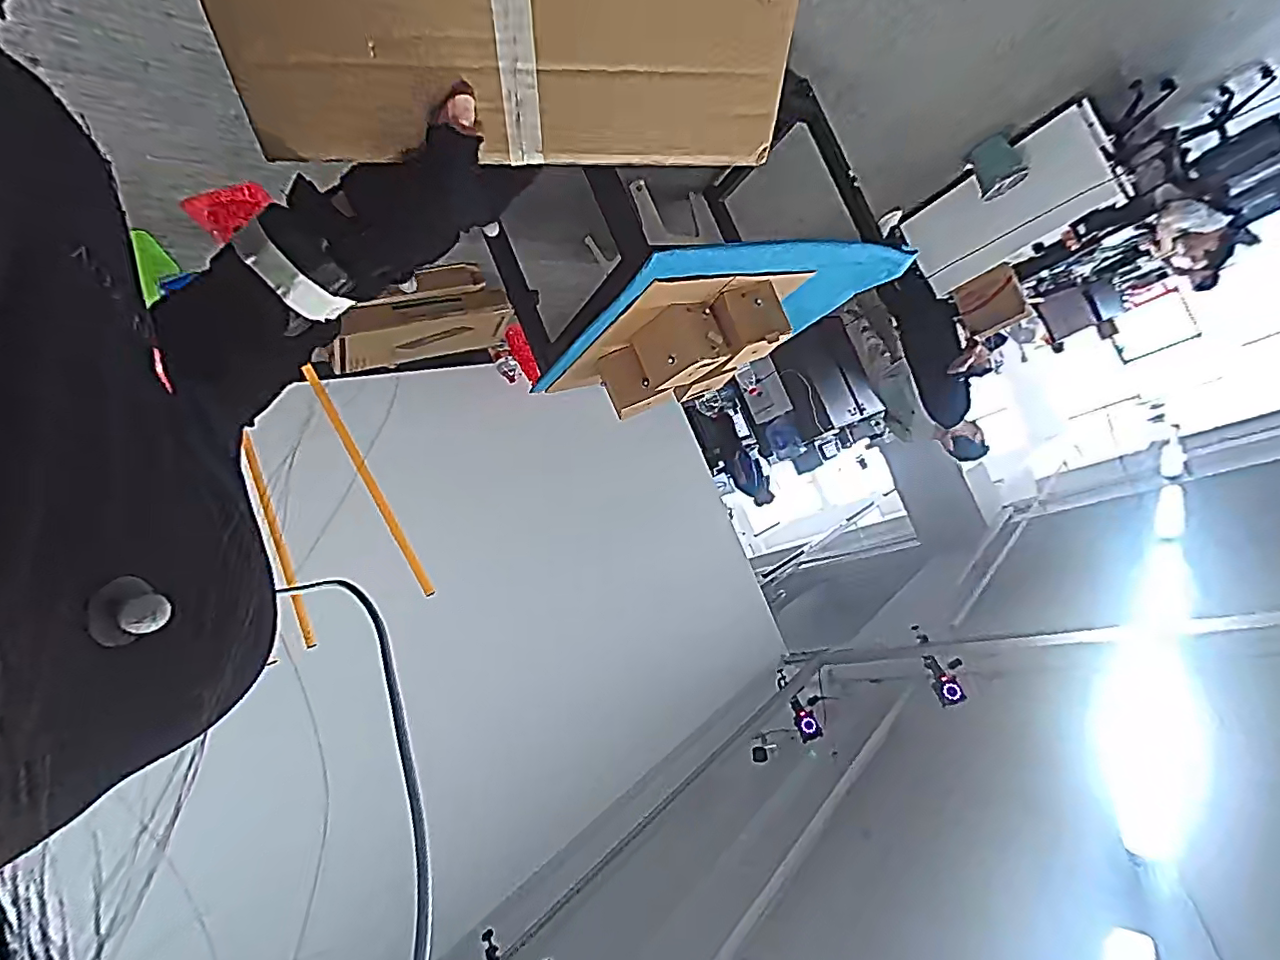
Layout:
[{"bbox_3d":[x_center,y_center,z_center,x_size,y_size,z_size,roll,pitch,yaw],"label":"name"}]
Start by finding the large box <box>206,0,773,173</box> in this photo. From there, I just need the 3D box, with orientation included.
[{"bbox_3d":[-0.089,-0.449,0.317,0.320,0.320,0.408,-2,135,-4],"label":"large box"}]
